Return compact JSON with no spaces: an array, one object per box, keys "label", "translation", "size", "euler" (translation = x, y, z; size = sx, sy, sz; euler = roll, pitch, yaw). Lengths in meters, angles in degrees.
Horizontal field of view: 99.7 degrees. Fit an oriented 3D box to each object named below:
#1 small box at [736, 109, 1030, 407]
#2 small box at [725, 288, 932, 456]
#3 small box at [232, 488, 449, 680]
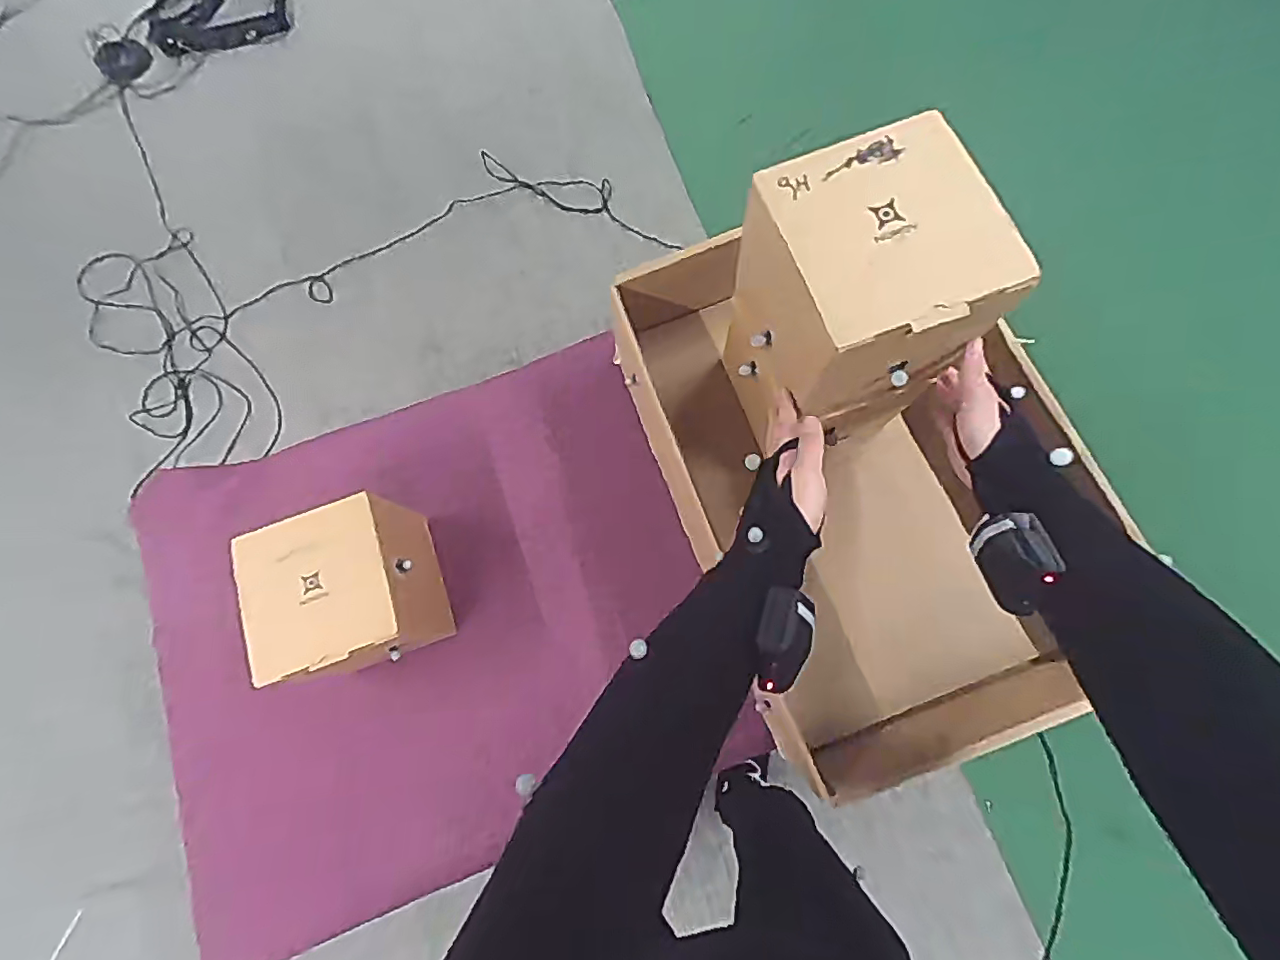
[{"label":"small box","translation":[0.199,-0.183,0.502],"size":[0.168,0.176,0.179],"euler":[-19,76,0]},{"label":"small box","translation":[0.211,-0.141,0.660],"size":[0.168,0.176,0.179],"euler":[-19,76,1]},{"label":"small box","translation":[-0.364,0.131,0.685],"size":[0.168,0.176,0.179],"euler":[-19,76,-2]}]
